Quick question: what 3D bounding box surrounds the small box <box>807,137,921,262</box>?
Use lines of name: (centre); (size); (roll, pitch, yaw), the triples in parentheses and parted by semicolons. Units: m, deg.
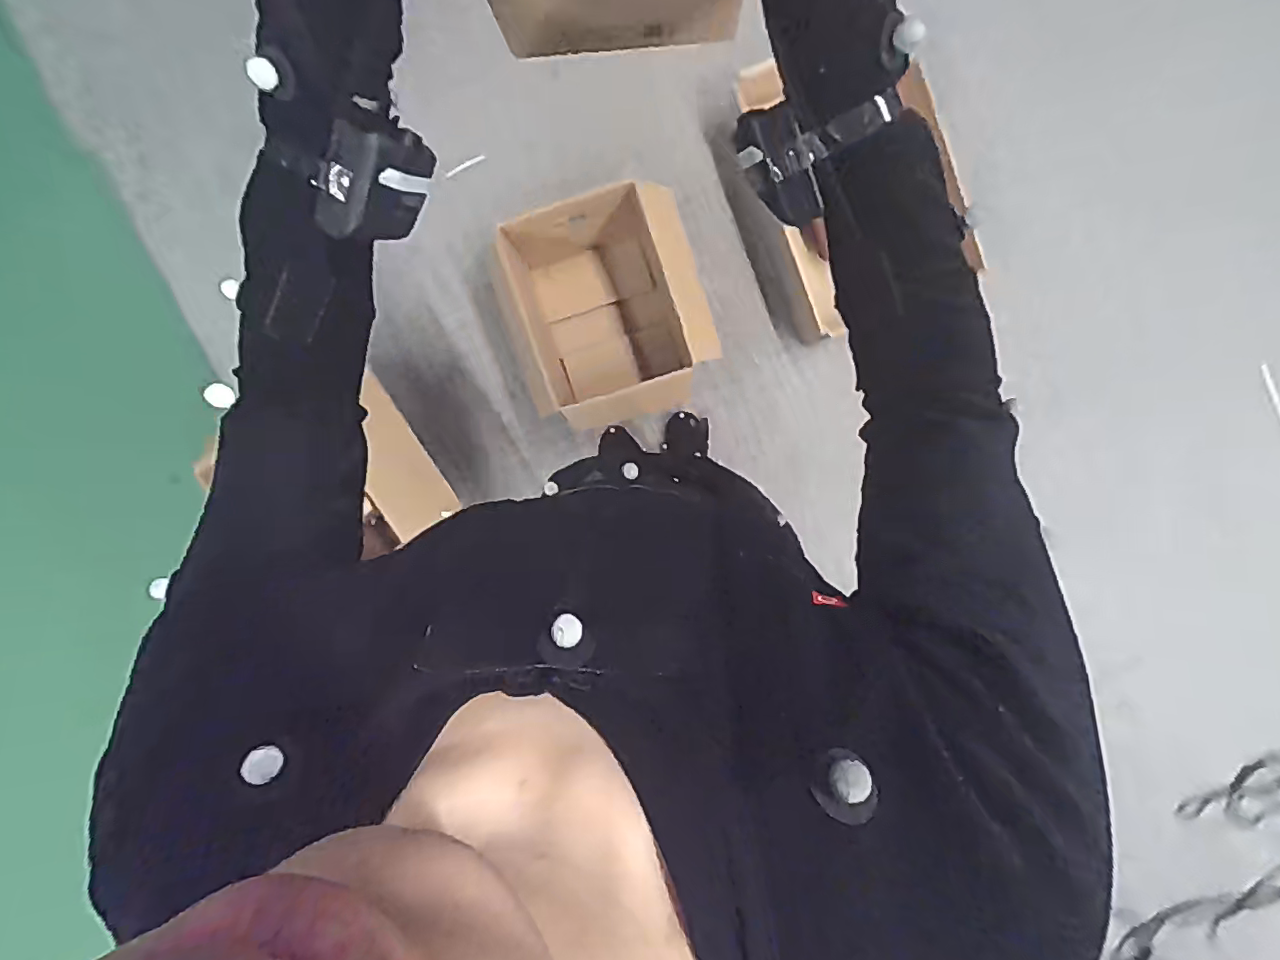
small box: (0.512, -0.644, 1.263); (0.168, 0.176, 0.179); (-22, 93, 4)
